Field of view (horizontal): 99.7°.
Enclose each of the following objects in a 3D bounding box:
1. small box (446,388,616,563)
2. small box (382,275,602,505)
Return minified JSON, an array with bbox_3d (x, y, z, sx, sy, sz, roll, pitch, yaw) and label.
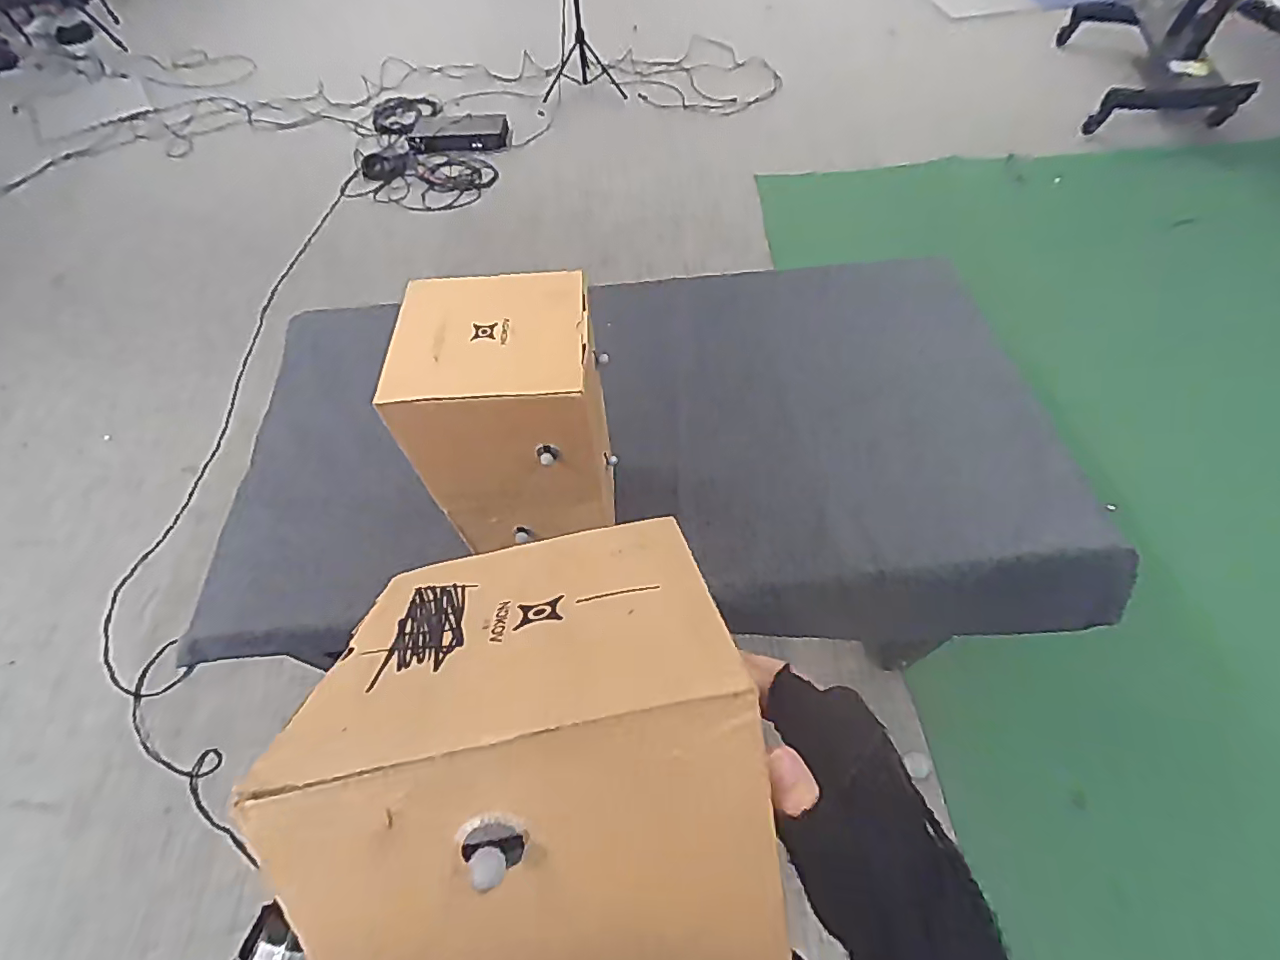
[{"bbox_3d":[-0.126,-0.001,0.701,0.179,0.176,0.168,-3,57,1],"label":"small box"},{"bbox_3d":[-0.132,-0.087,0.564,0.179,0.176,0.168,-4,55,1],"label":"small box"}]
